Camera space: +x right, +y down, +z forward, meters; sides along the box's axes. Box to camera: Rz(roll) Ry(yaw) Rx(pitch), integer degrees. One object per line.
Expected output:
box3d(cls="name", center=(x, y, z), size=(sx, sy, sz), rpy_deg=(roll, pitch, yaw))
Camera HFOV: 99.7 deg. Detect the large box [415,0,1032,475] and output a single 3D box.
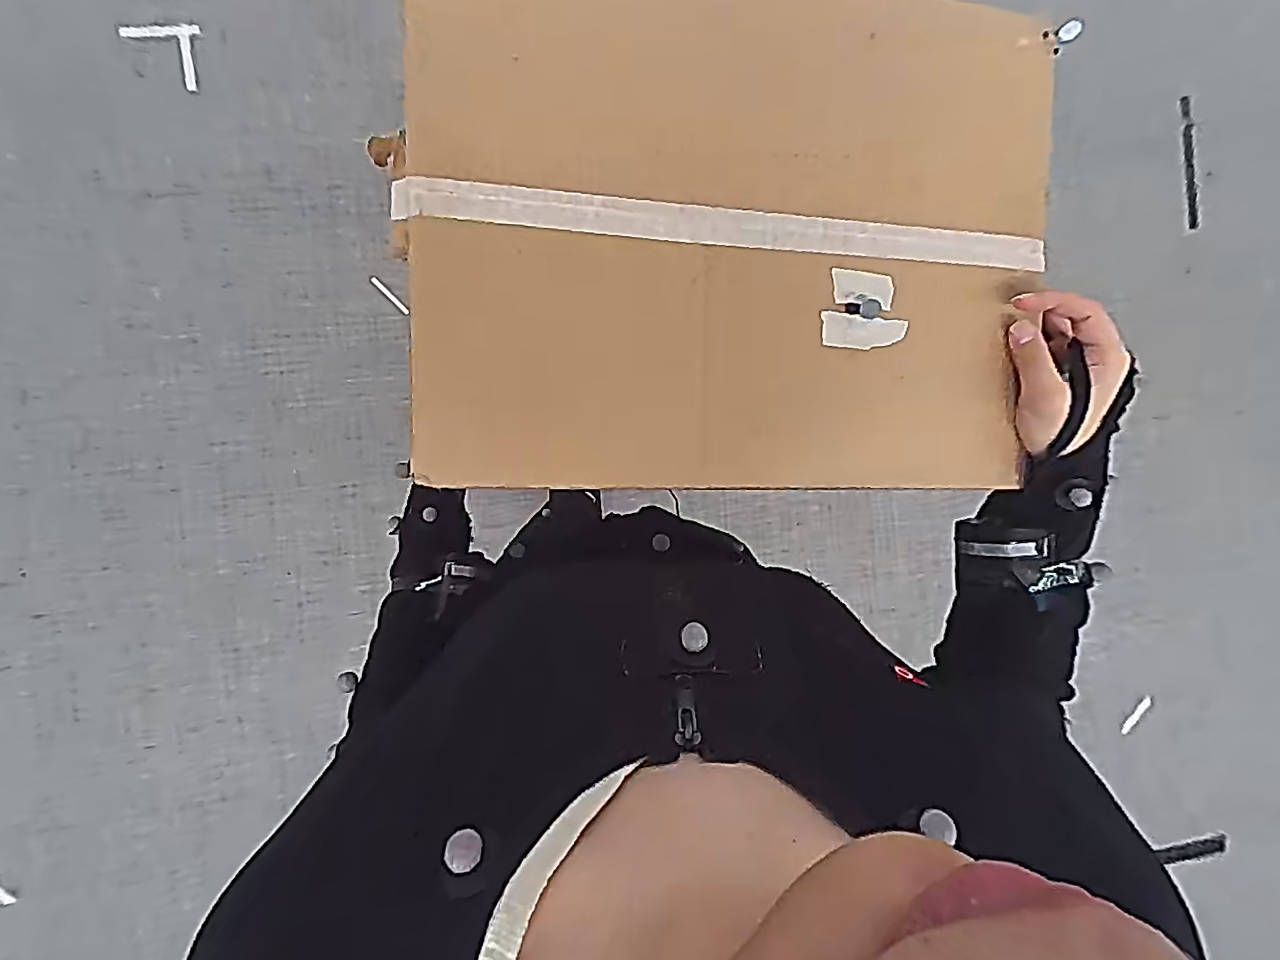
box3d(cls="large box", center=(0.040, -0.170, 0.482), size=(0.408, 0.320, 0.320), rpy_deg=(0, 94, -13))
